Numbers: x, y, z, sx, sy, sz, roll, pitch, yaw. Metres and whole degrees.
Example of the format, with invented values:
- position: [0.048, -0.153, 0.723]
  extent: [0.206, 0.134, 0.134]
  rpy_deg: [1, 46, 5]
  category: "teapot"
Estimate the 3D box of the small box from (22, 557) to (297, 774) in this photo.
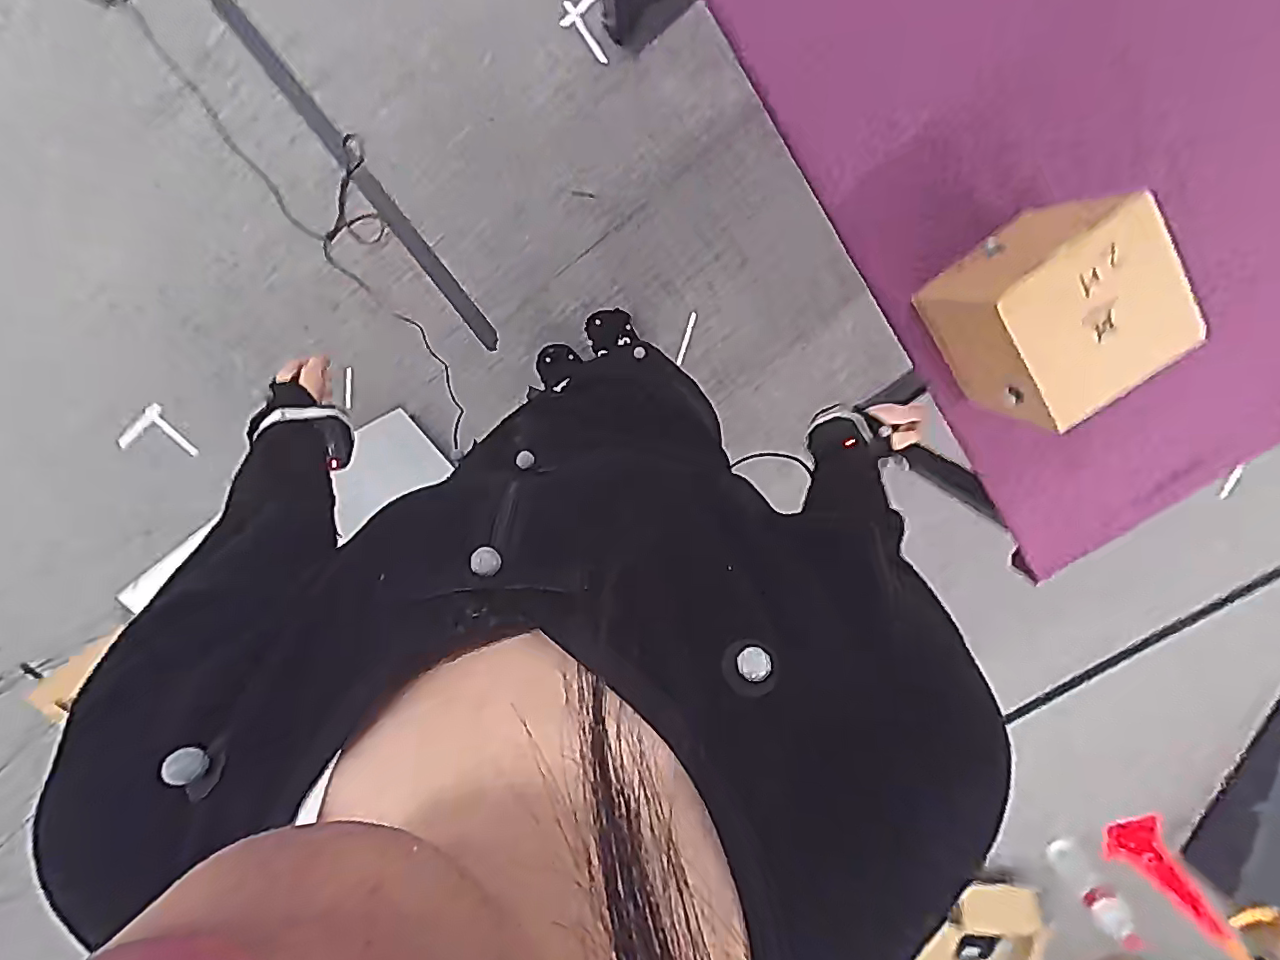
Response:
- position: [-0.612, 0.236, 0.717]
  extent: [0.179, 0.176, 0.168]
  rpy_deg: [-33, 108, 9]
  category: "small box"

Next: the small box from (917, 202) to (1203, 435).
- position: [0.465, -0.184, 0.625]
  extent: [0.168, 0.176, 0.179]
  rpy_deg: [-36, 106, 10]
  category: "small box"

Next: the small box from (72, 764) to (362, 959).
- position: [-0.474, 0.484, 0.638]
  extent: [0.179, 0.176, 0.168]
  rpy_deg: [-35, 107, 10]
  category: "small box"
